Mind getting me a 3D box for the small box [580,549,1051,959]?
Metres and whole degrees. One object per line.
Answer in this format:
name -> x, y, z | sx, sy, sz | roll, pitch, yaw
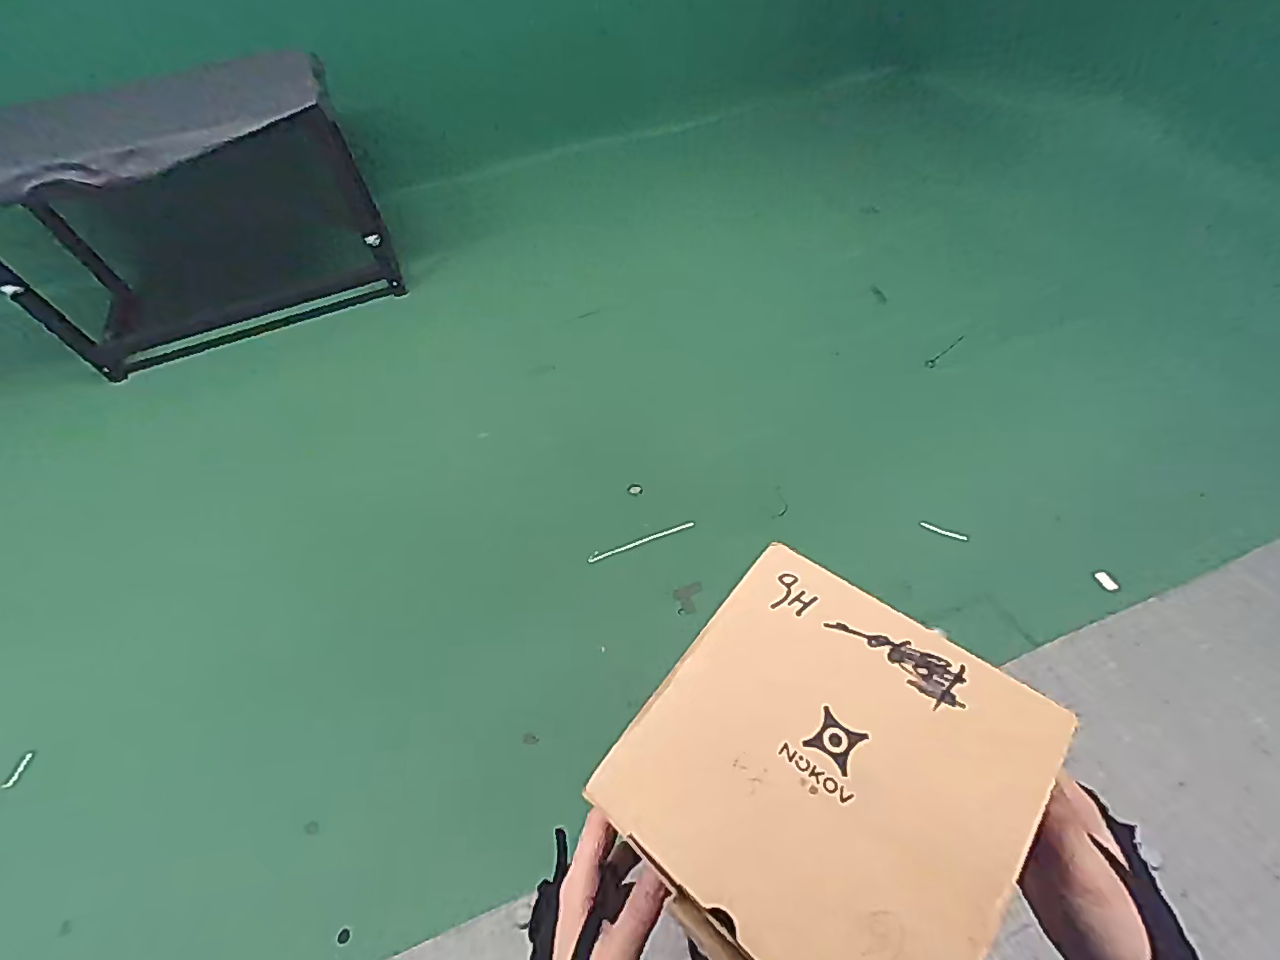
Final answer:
small box -> 0.096, 0.183, 0.329 | 0.168, 0.176, 0.179 | 31, 65, 29
